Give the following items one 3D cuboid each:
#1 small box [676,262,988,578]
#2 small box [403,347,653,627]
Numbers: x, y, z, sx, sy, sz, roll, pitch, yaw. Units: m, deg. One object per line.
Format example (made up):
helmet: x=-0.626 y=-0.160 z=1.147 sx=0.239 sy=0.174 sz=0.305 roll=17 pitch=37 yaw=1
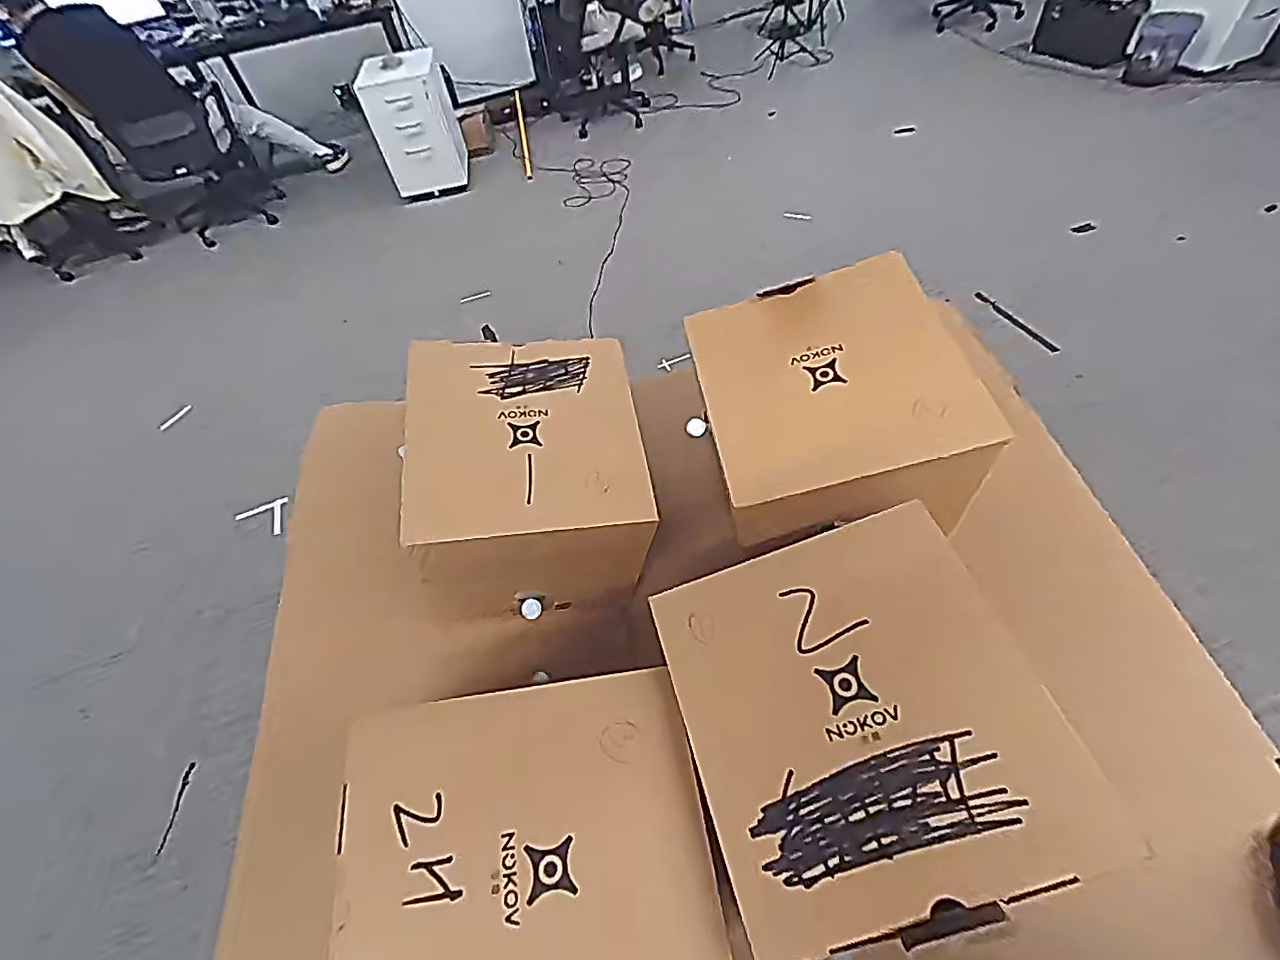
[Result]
small box: x=0.139 y=-0.033 z=0.439 sx=0.168 sy=0.176 sz=0.179 roll=-16 pitch=57 yaw=8
small box: x=-0.095 y=0.008 z=0.465 sx=0.168 sy=0.176 sz=0.179 roll=-5 pitch=58 yaw=-12
